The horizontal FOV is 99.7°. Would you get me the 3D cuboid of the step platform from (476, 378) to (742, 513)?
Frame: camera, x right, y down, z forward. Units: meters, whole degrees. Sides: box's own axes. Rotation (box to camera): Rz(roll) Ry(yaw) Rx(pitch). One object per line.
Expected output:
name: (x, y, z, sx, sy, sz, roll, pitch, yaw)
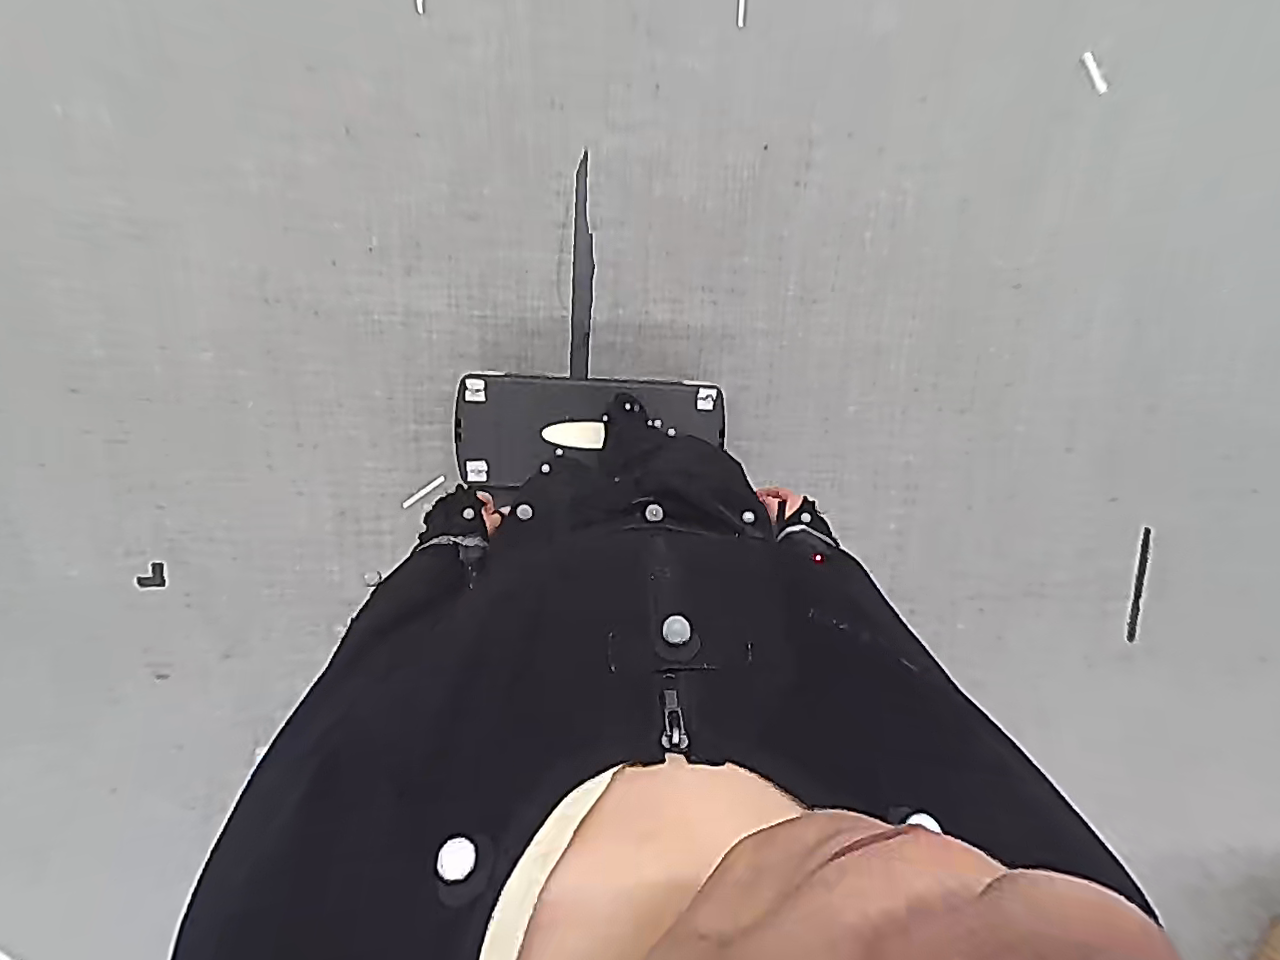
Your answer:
step platform: (-0.079, -0.088, 1.429, 0.684, 0.204, 0.286, 6, 97, -7)
